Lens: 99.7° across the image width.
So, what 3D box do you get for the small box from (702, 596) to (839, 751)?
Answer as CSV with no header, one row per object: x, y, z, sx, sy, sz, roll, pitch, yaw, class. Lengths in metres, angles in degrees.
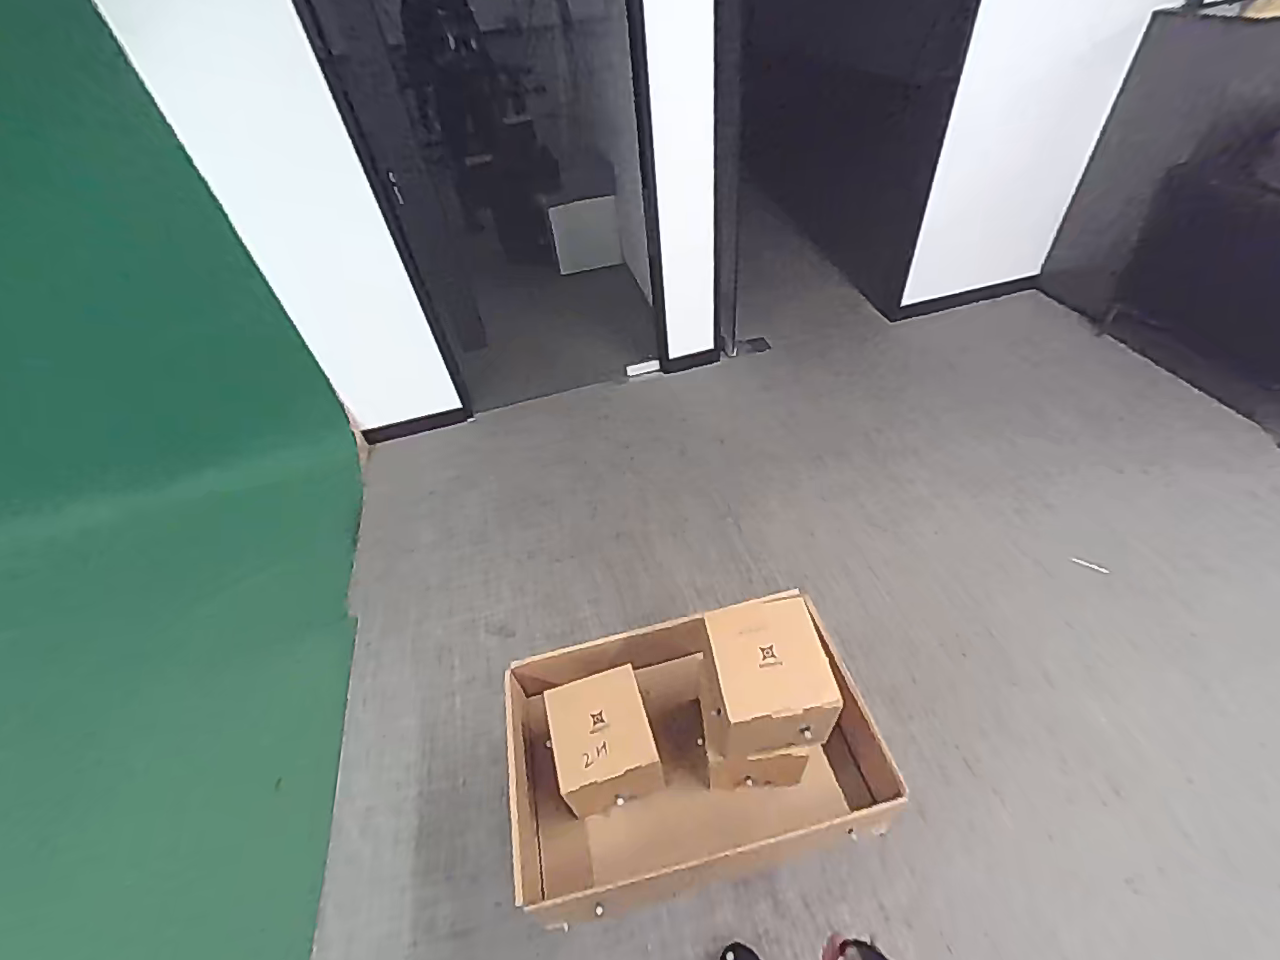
0.195,0.312,0.858,0.168,0.176,0.179,-8,46,-2,small box

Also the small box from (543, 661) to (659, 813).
-0.068,0.461,0.970,0.168,0.176,0.179,-15,47,-7,small box
